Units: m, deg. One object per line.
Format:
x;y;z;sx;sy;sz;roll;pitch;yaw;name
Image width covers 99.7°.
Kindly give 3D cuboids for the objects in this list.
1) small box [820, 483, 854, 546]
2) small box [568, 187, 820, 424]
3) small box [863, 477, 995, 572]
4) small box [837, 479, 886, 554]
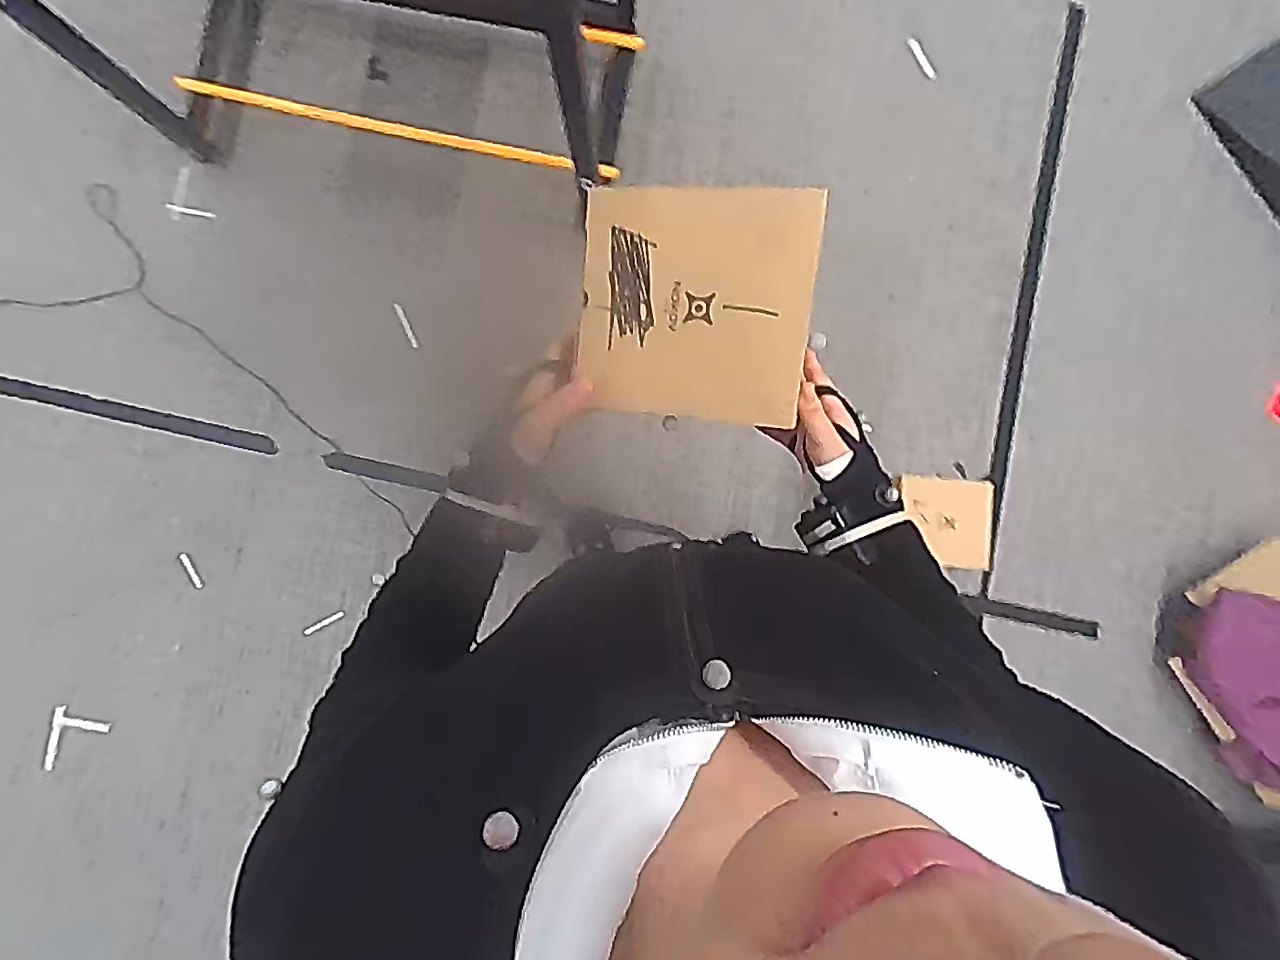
0.597;0.103;1.428;0.179;0.176;0.168;9;87;2;small box
0.053;-0.138;0.476;0.179;0.176;0.168;7;99;14;small box
0.579;0.088;1.098;0.179;0.176;0.168;5;86;0;small box
0.580;0.097;1.264;0.179;0.176;0.168;10;87;1;small box
